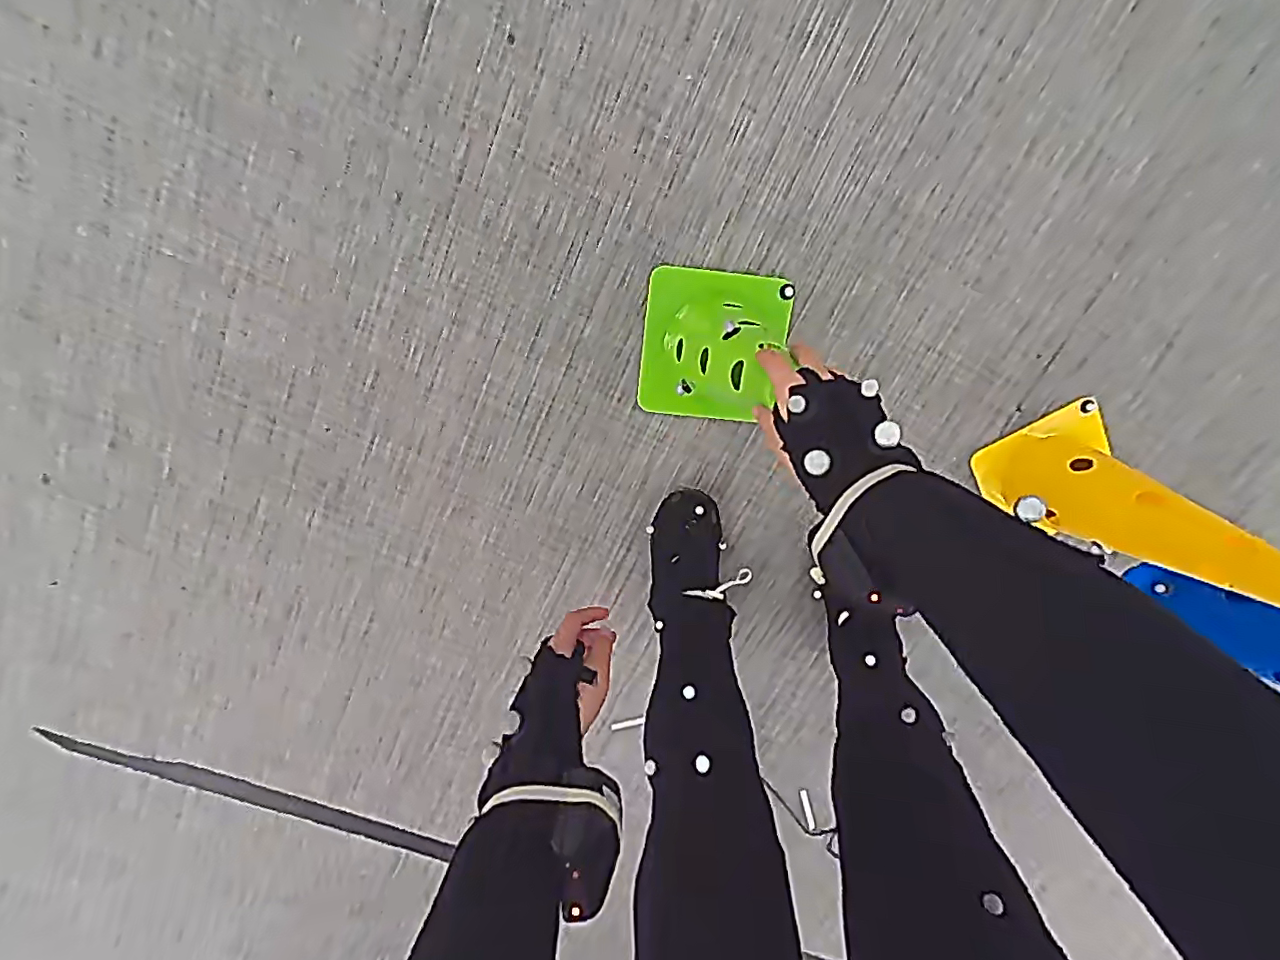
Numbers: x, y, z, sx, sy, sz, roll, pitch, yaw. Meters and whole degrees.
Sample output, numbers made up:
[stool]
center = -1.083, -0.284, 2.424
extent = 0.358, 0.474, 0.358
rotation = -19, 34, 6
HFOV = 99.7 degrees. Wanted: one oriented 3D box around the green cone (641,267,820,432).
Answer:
[green cone]
center = 0.113, -0.123, 0.591
extent = 0.200, 0.368, 0.202
rotation = 5, 110, -4
